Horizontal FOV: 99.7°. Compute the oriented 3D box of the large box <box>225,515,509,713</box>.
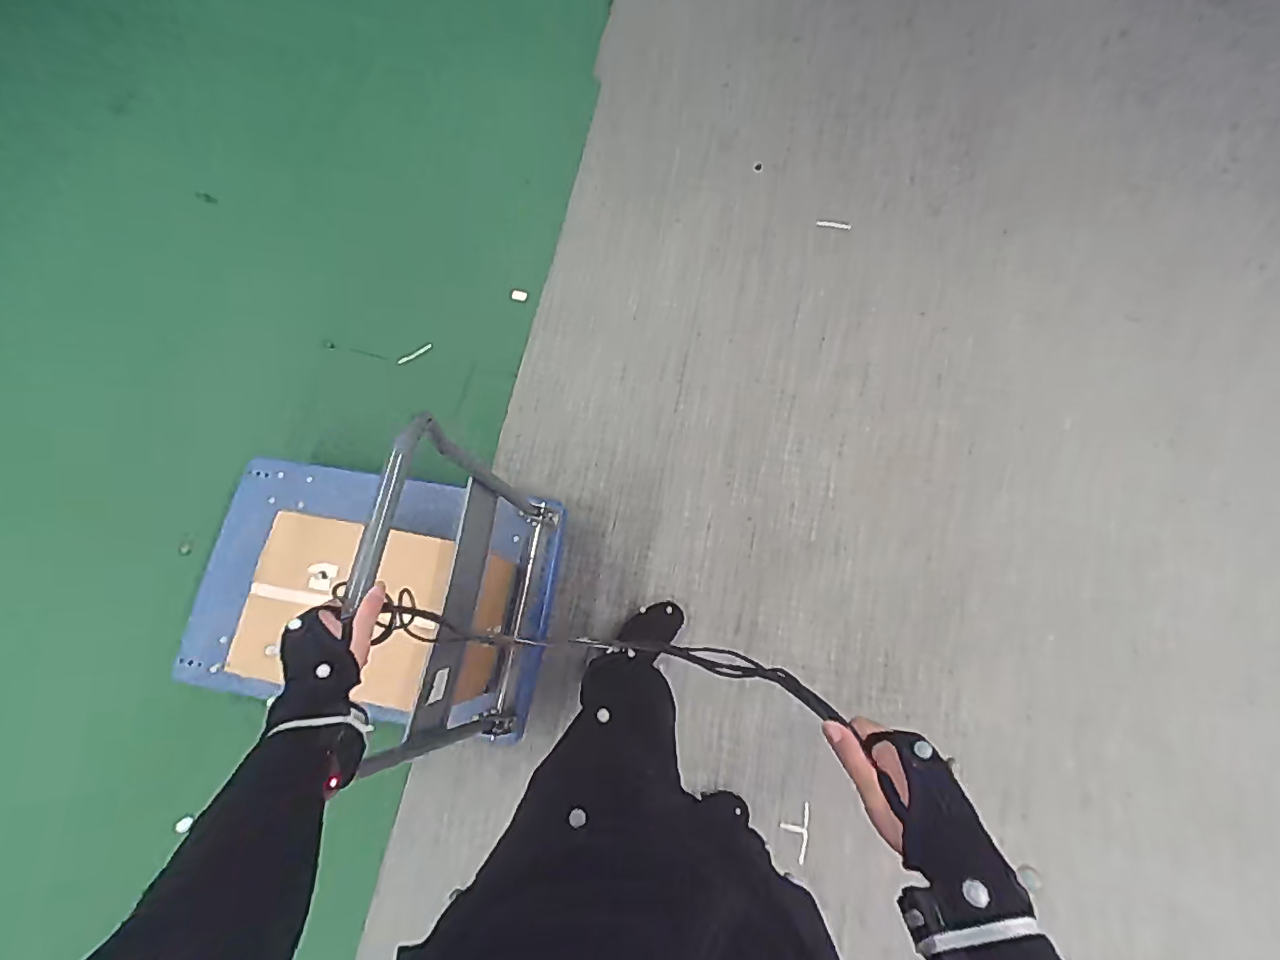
[{"bbox_3d":[-0.541,0.280,1.161,0.408,0.320,0.320,9,75,6],"label":"large box"}]
